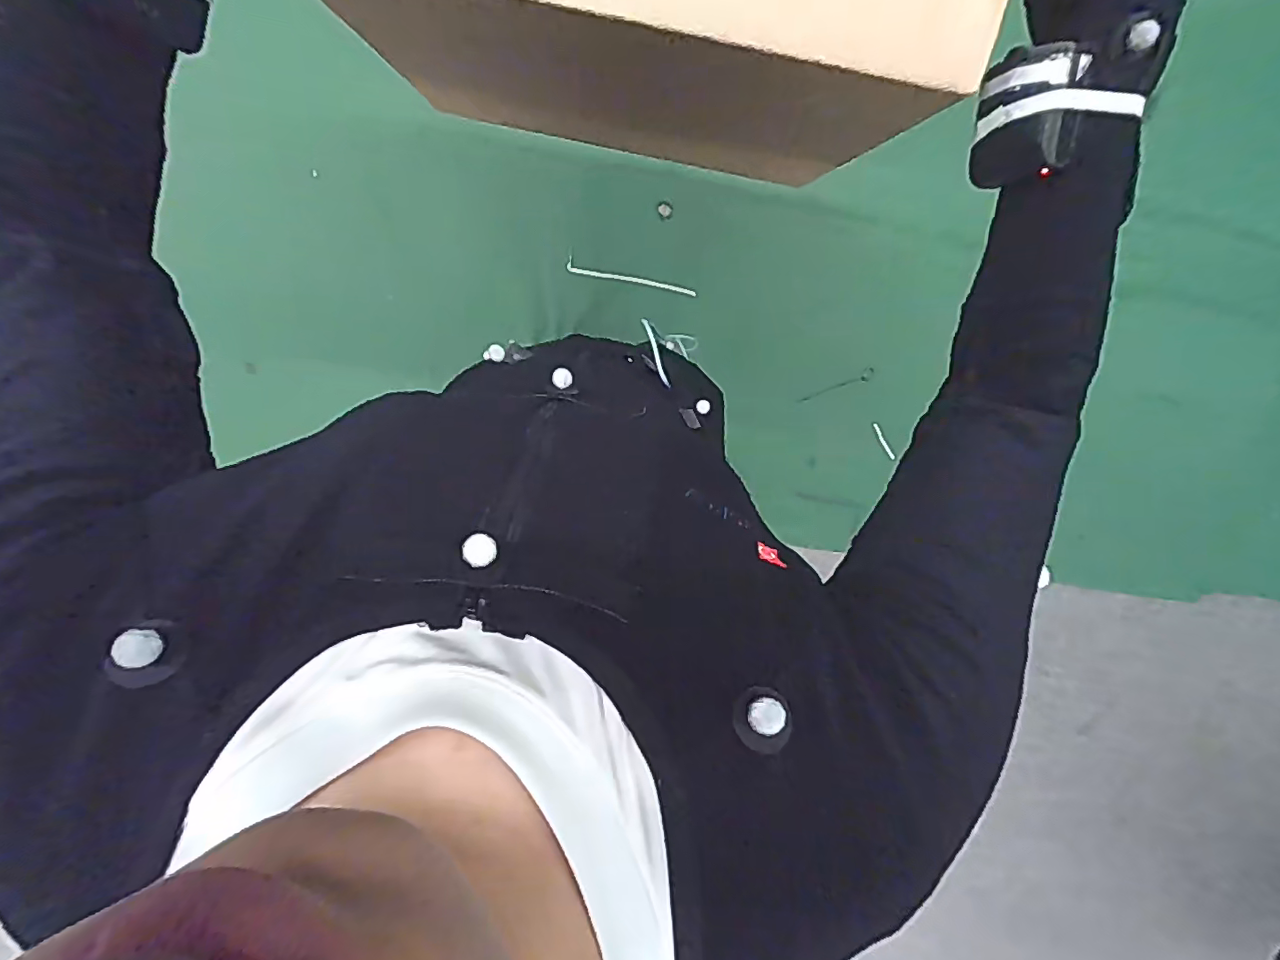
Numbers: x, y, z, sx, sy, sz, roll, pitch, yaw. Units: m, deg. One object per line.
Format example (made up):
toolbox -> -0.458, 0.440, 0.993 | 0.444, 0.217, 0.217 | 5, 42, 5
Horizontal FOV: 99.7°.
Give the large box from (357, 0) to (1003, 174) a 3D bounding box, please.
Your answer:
large box -> 0.021, -0.456, 0.393 | 0.408, 0.320, 0.320 | 8, 110, -6
